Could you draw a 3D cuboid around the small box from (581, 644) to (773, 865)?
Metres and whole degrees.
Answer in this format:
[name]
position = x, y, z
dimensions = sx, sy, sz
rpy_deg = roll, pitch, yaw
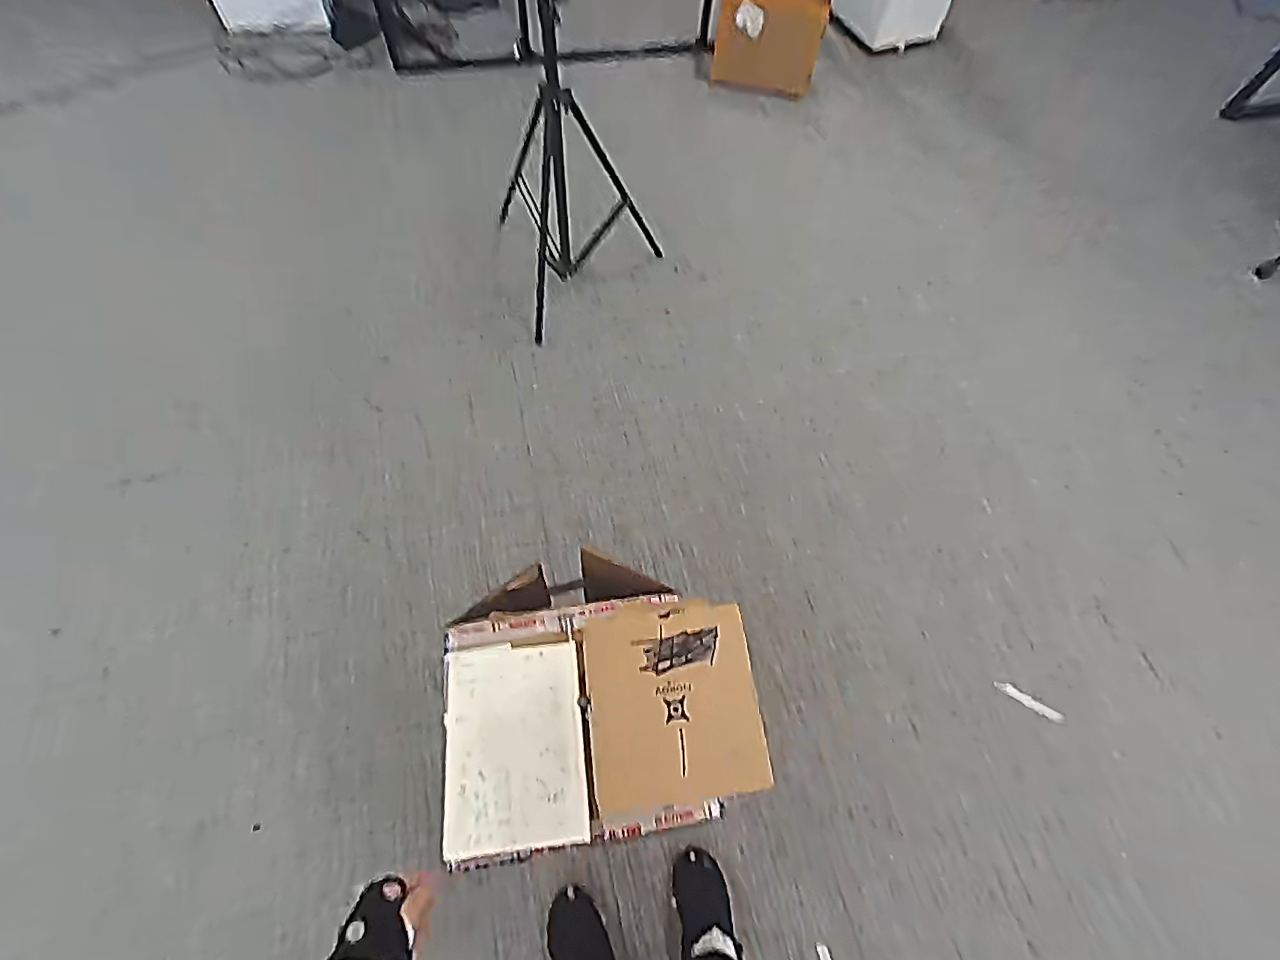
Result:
[small box]
position = 0.023, 0.289, 0.589
dimensions = 0.168, 0.176, 0.179
rpy_deg = -4, 65, -8
